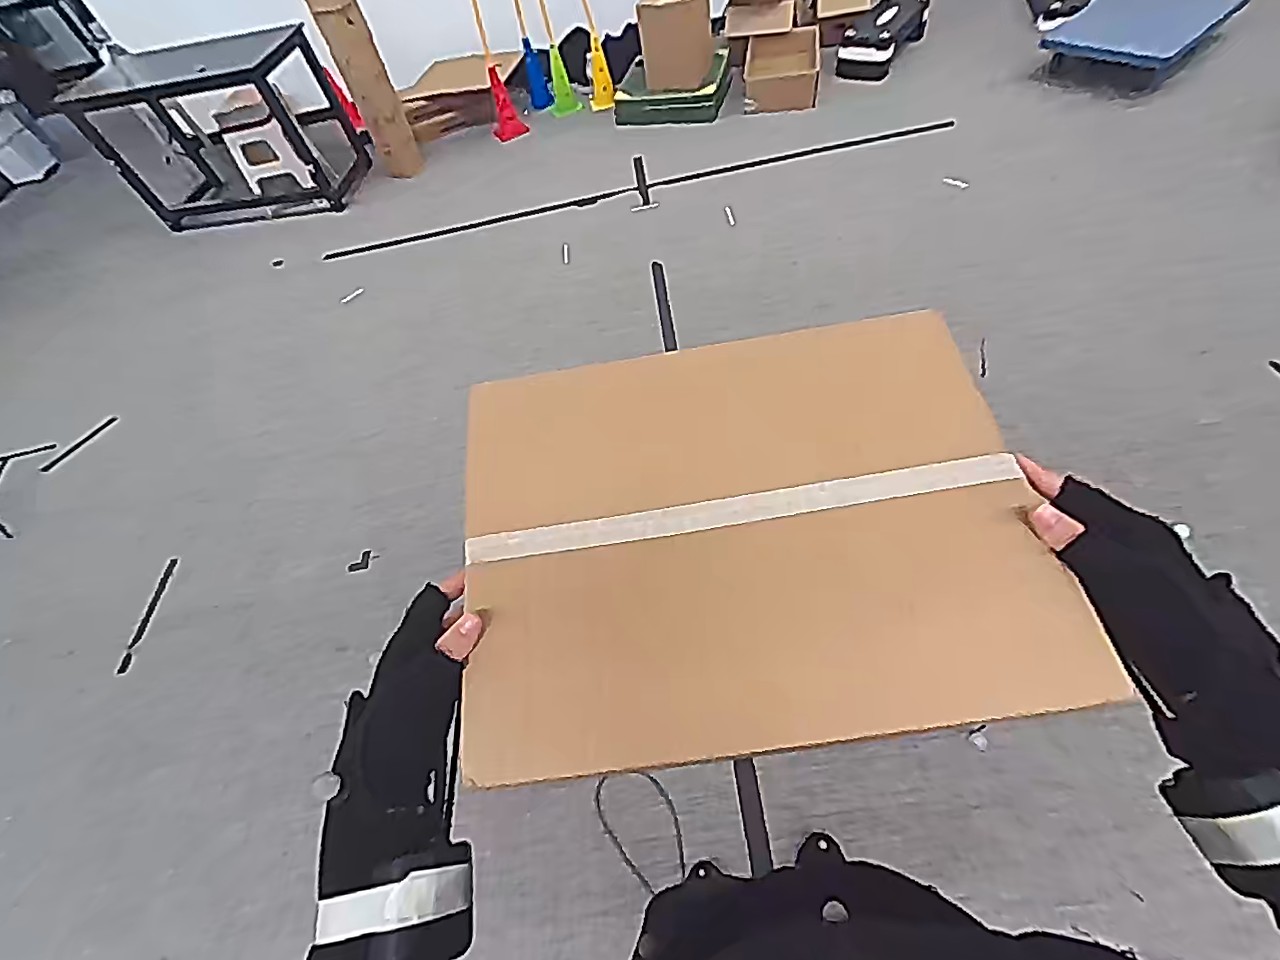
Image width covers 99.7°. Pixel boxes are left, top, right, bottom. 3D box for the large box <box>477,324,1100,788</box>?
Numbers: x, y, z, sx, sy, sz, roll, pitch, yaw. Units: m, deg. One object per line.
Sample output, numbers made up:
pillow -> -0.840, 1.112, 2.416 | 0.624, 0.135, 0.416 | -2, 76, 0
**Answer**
large box -> 0.089, 0.094, 0.538 | 0.408, 0.320, 0.320 | -8, 62, 2
